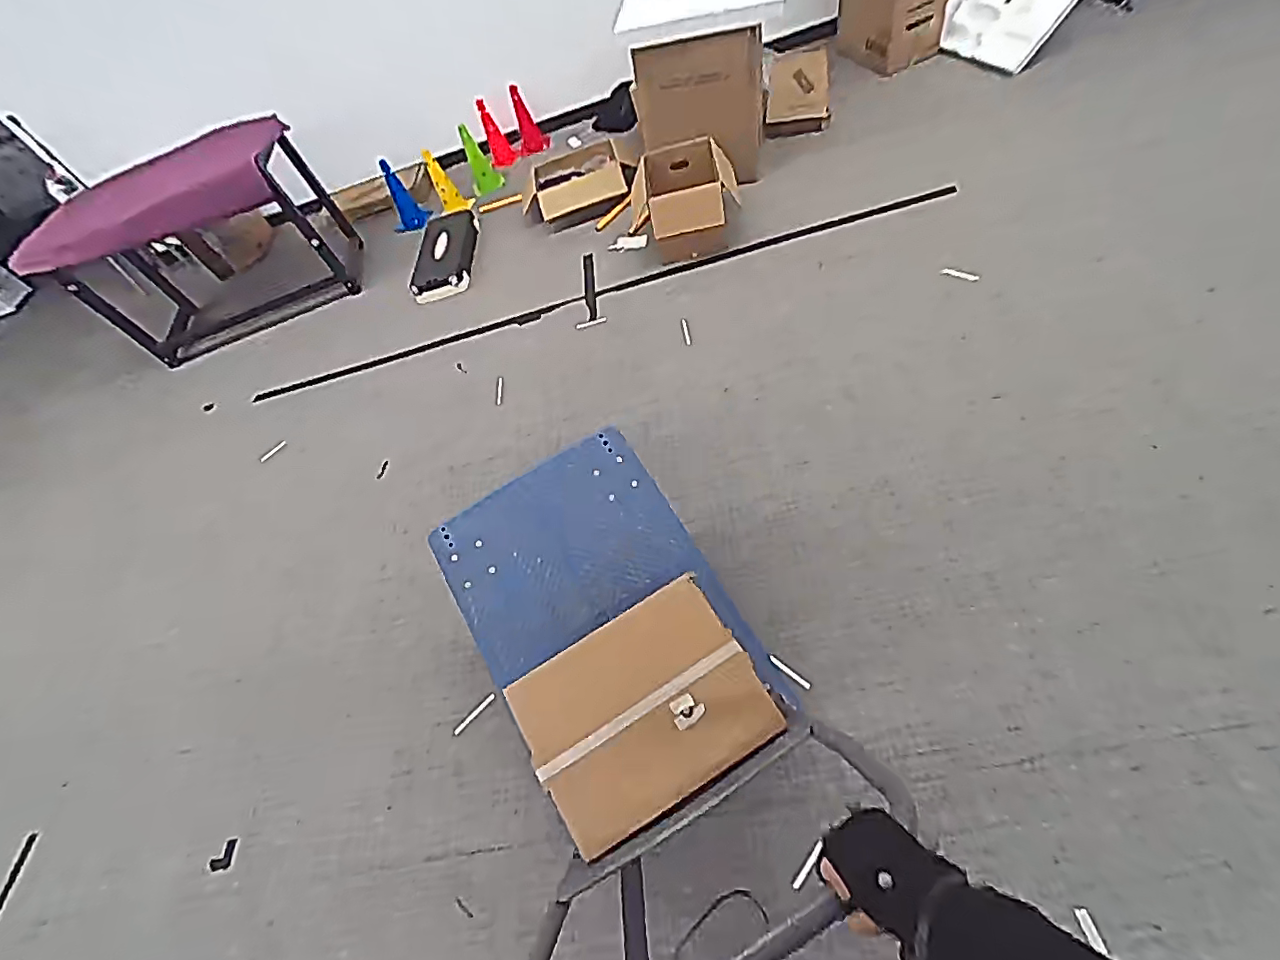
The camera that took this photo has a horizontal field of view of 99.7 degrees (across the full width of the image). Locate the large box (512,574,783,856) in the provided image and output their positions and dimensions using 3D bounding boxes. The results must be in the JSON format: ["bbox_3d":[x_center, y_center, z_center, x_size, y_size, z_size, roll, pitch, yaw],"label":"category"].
[{"bbox_3d":[0.017,0.455,1.106,0.408,0.320,0.320,-32,71,-7],"label":"large box"}]
